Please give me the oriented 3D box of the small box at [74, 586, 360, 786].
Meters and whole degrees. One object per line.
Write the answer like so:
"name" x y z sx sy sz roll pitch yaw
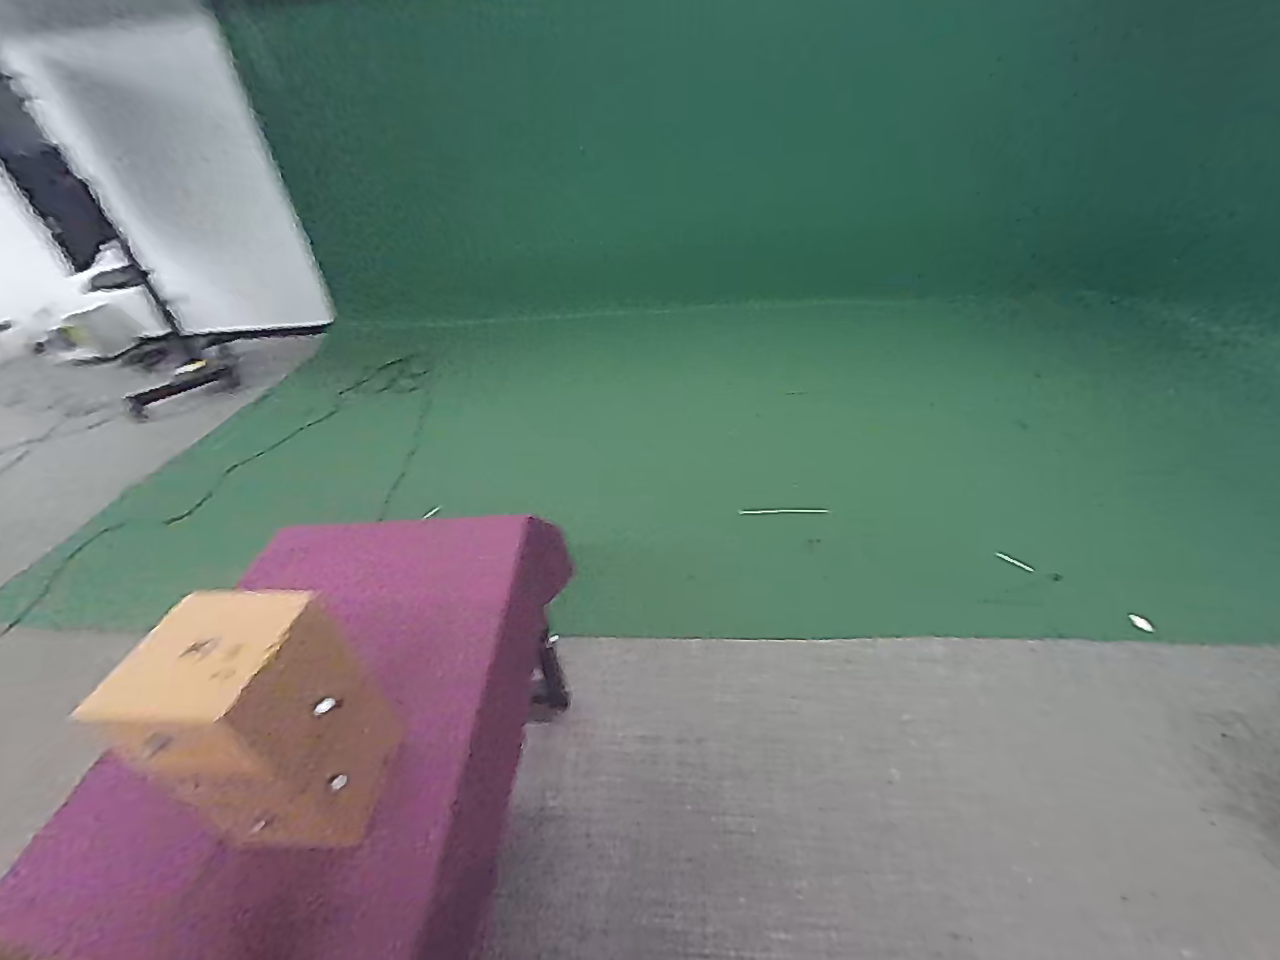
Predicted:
"small box" -0.485 0.248 0.655 0.179 0.176 0.168 0 38 7
